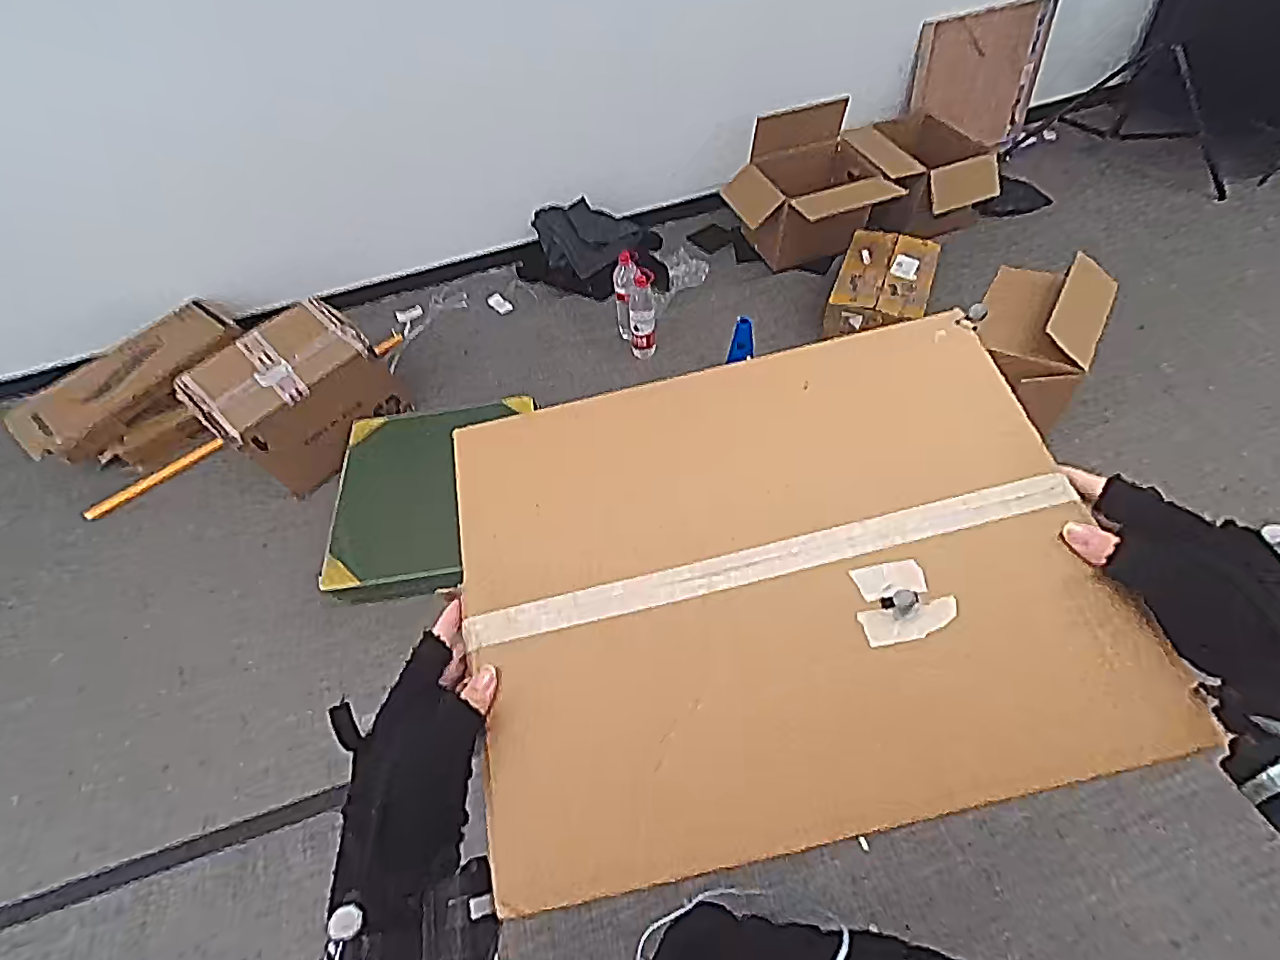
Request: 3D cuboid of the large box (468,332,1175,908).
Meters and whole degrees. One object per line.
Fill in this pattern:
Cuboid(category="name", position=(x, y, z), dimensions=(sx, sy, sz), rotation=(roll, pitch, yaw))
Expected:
Cuboid(category="large box", position=(0.099, 0.123, 0.506), dimensions=(0.408, 0.320, 0.320), rotation=(-14, 66, -1))
